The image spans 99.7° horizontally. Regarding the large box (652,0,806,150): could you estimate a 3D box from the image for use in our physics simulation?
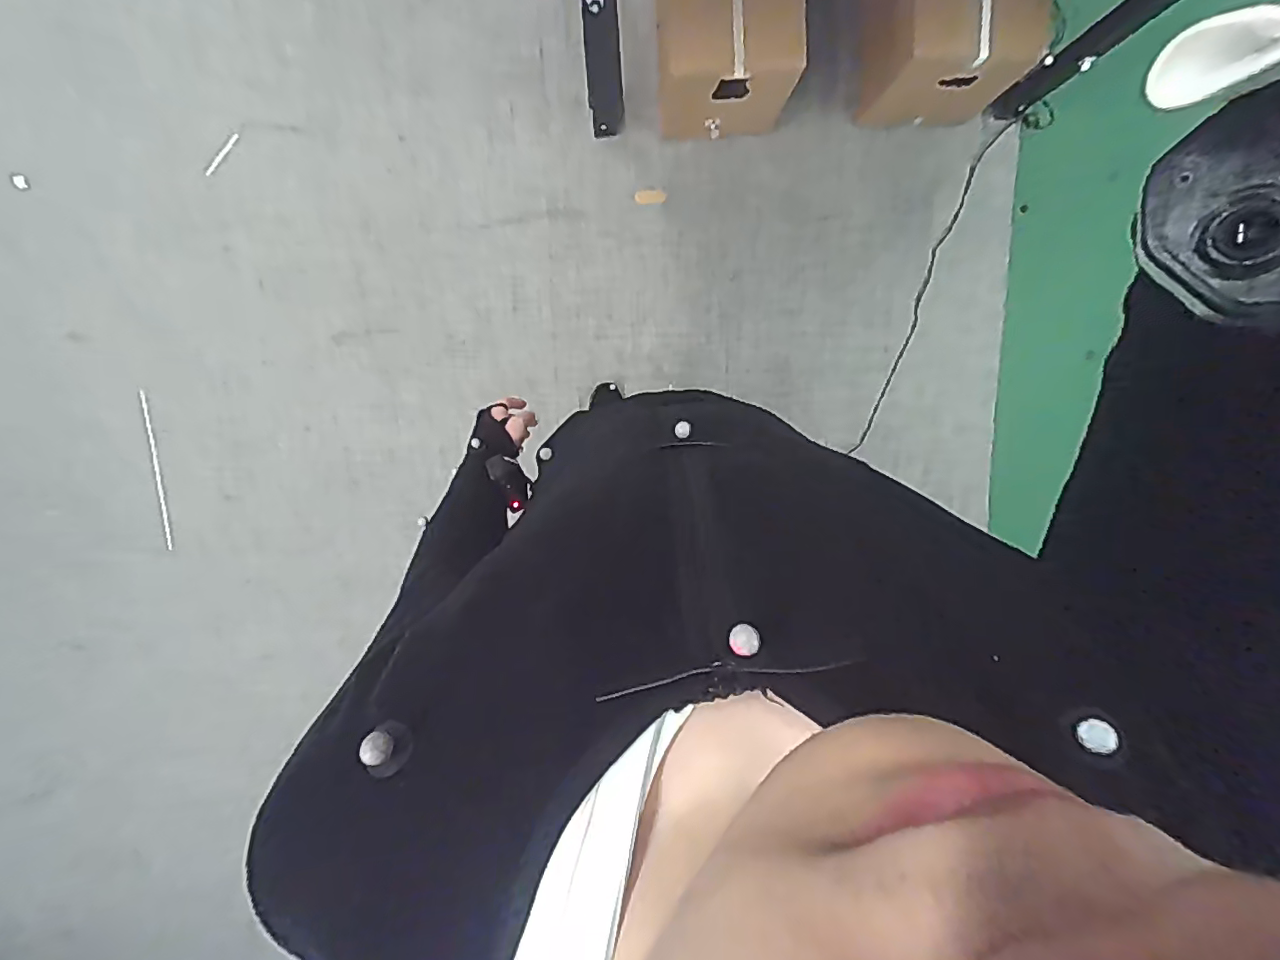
[{"bbox_3d":[0.200,-1.109,1.334,0.320,0.320,0.408,-5,97,-1],"label":"large box"}]
